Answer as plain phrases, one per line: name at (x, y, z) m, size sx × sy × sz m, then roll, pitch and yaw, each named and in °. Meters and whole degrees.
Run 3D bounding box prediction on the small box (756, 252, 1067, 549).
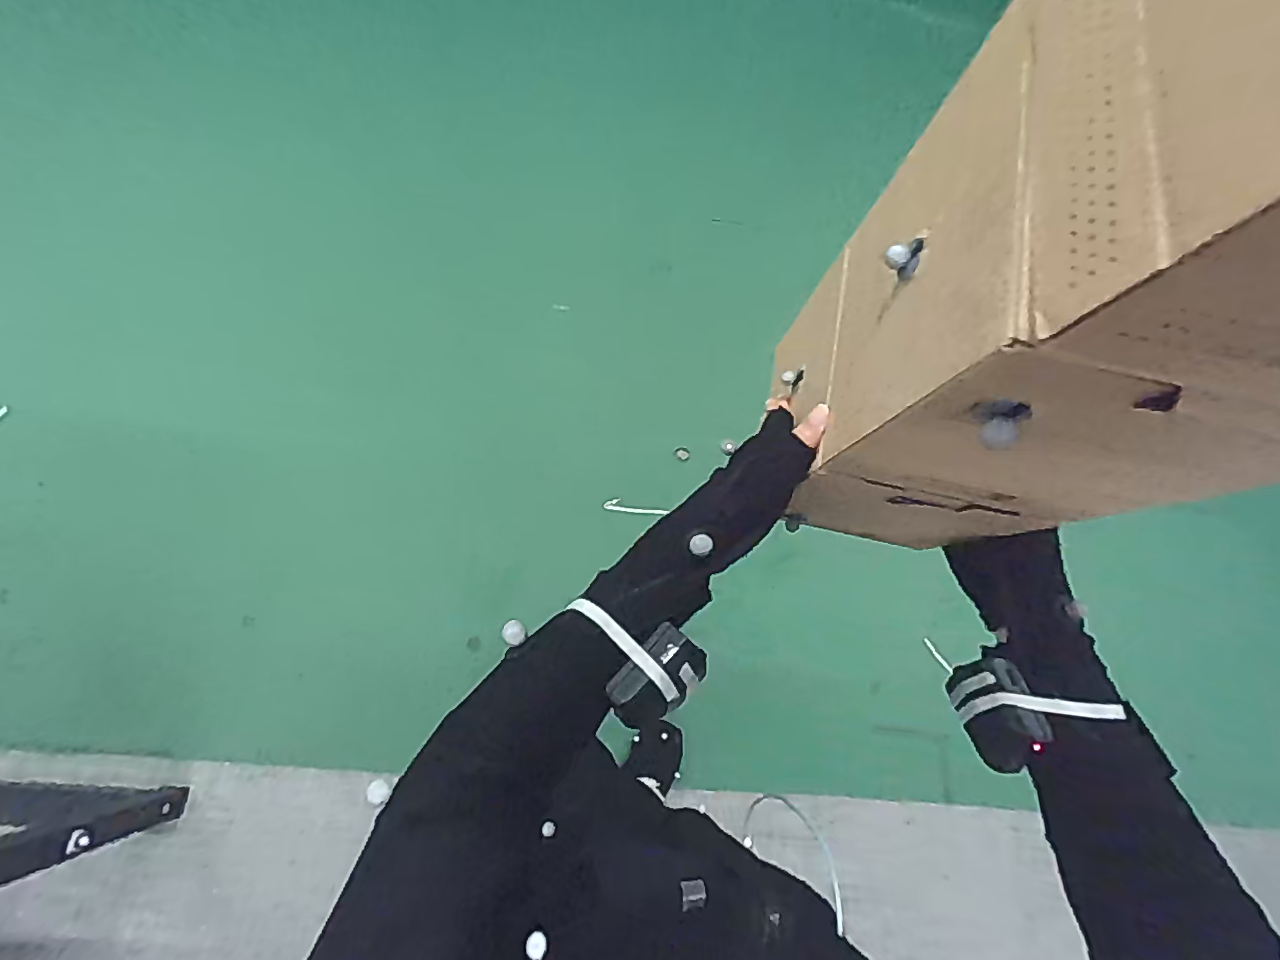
small box at (0.205, -0.047, 0.447) m, size 0.168 × 0.176 × 0.179 m, roll 13°, pitch 76°, yaw -1°
